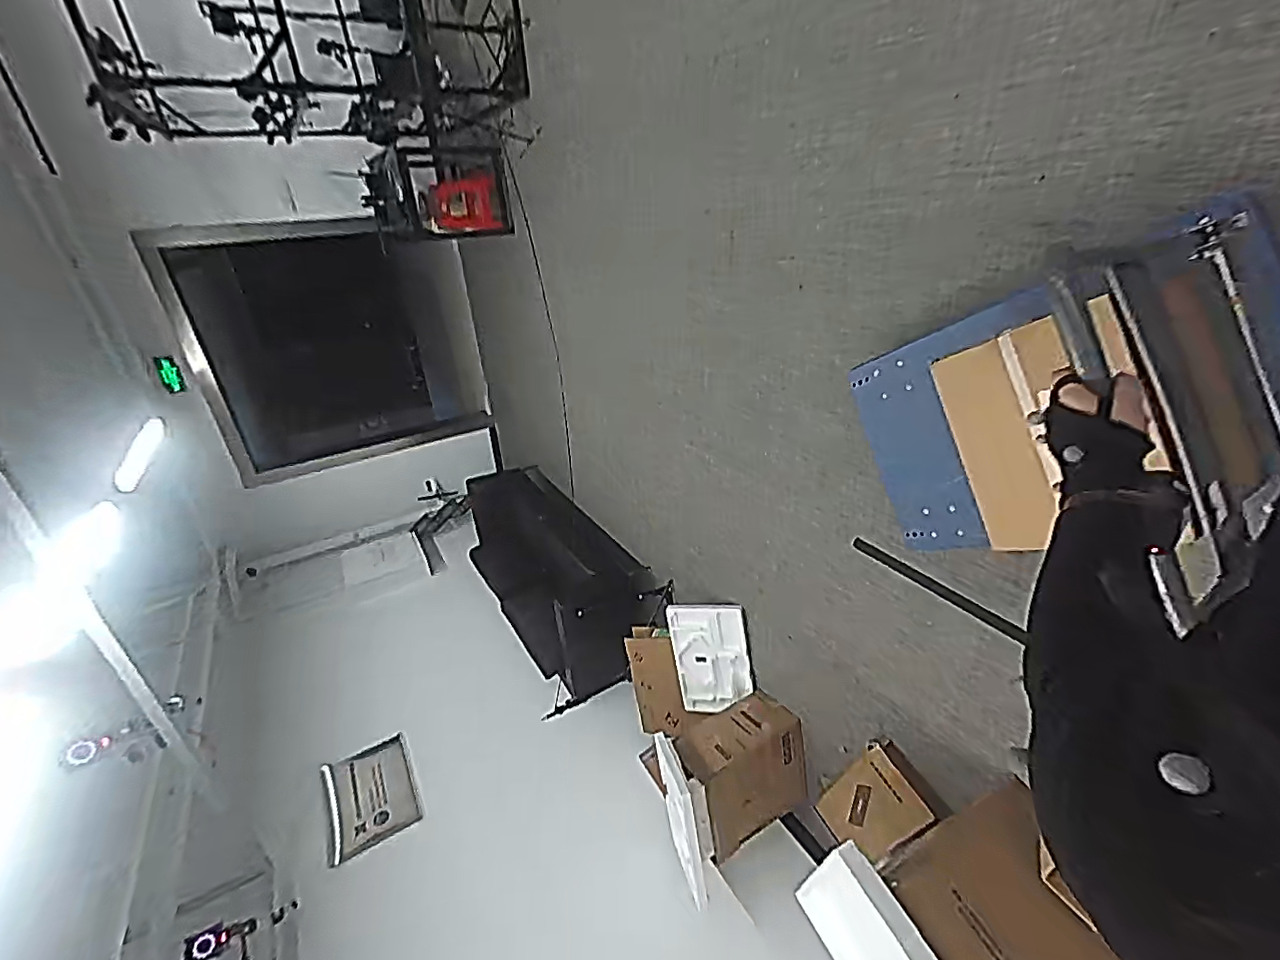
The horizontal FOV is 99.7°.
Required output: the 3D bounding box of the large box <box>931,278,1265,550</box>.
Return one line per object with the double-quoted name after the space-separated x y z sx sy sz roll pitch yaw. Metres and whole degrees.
0.844 -0.109 1.022 0.320 0.320 0.408 -21 87 64 "large box"
